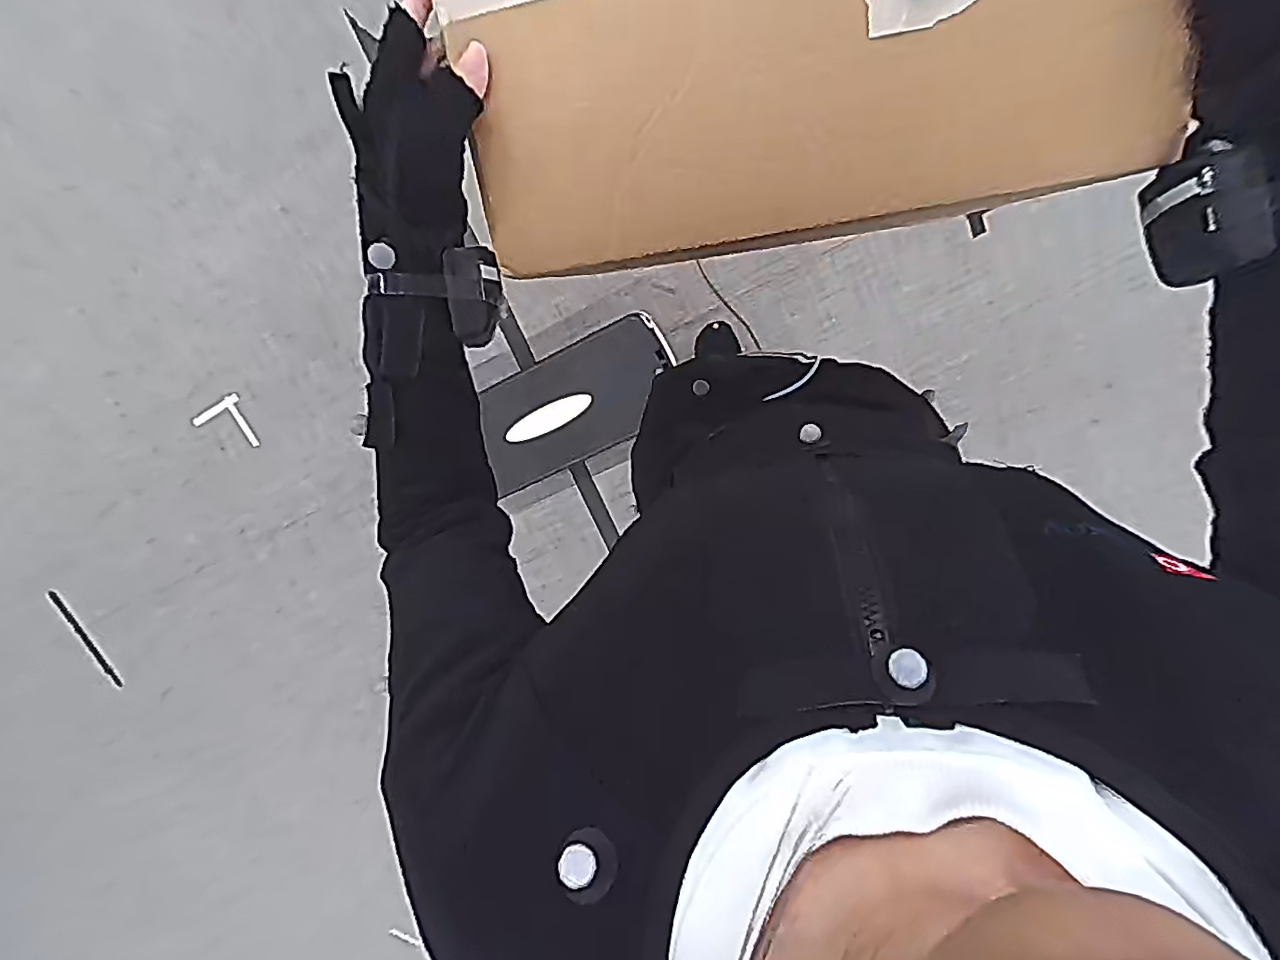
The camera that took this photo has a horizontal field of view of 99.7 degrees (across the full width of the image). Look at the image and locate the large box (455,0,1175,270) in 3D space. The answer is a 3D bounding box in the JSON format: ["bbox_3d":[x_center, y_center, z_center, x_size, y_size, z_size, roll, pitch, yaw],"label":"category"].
[{"bbox_3d":[0.097,-0.366,0.435,0.408,0.320,0.320,-6,111,10],"label":"large box"}]
